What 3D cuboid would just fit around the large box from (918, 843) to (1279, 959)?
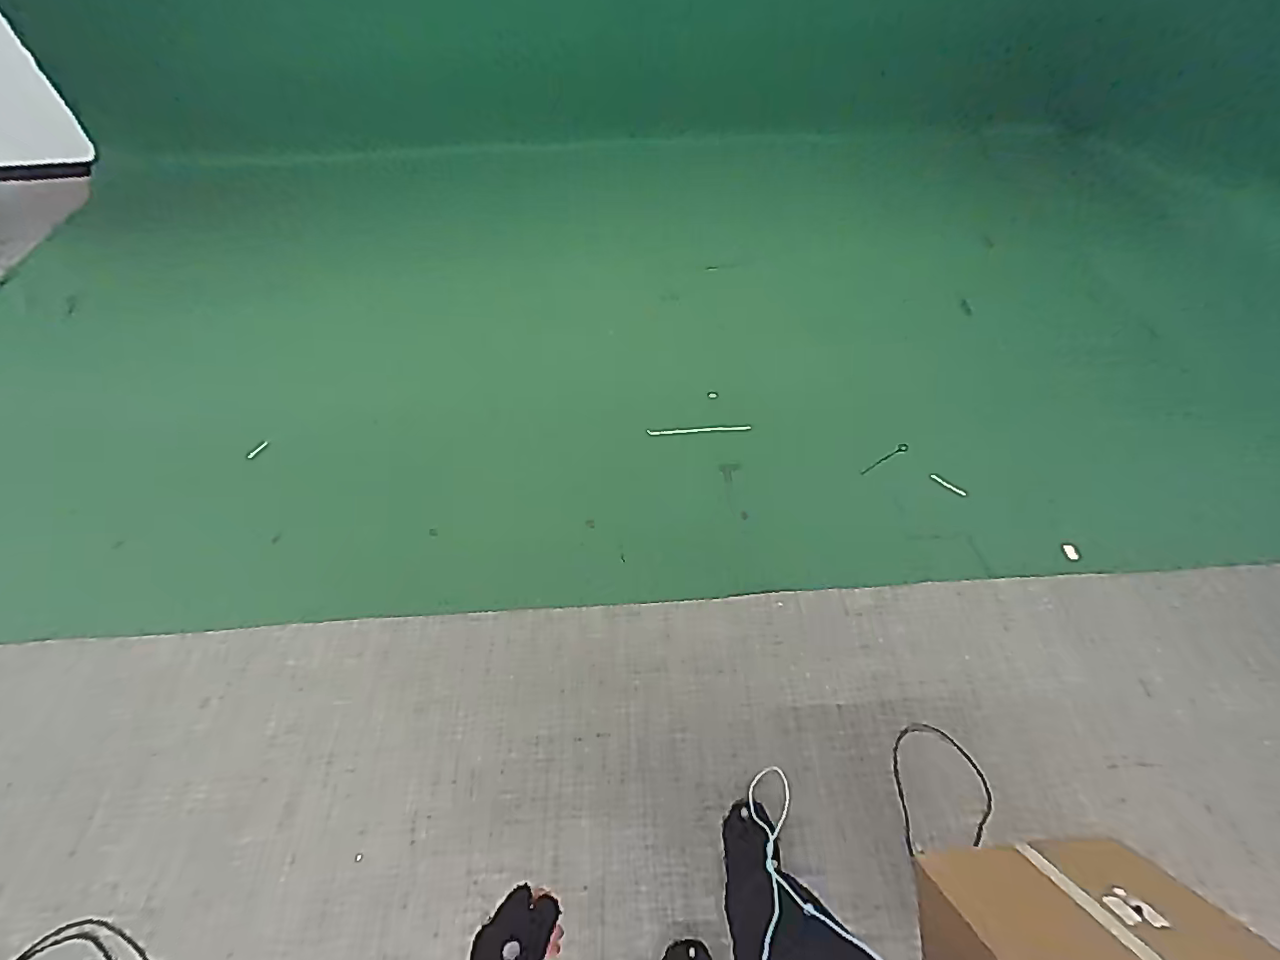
[{"bbox_3d":[0.578,0.695,0.599,0.320,0.408,0.320,-3,88,-2],"label":"large box"}]
